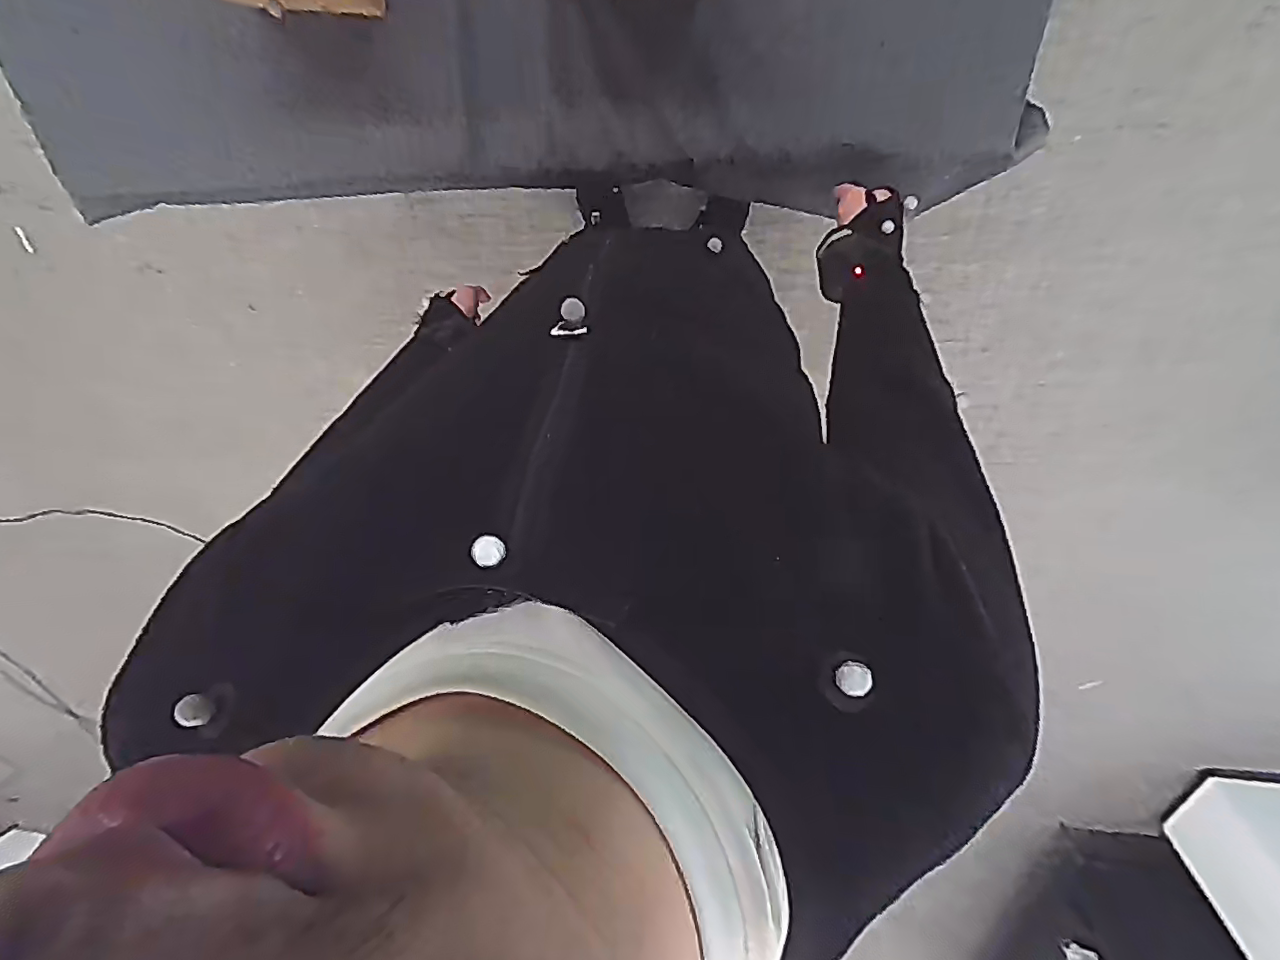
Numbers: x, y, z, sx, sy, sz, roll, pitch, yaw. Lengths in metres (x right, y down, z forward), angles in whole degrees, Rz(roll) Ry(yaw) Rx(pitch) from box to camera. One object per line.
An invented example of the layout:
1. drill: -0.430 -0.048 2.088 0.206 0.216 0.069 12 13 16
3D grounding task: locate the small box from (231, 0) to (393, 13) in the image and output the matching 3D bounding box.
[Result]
1. small box: -0.357 -0.557 0.499 0.168 0.176 0.179 5 122 6
